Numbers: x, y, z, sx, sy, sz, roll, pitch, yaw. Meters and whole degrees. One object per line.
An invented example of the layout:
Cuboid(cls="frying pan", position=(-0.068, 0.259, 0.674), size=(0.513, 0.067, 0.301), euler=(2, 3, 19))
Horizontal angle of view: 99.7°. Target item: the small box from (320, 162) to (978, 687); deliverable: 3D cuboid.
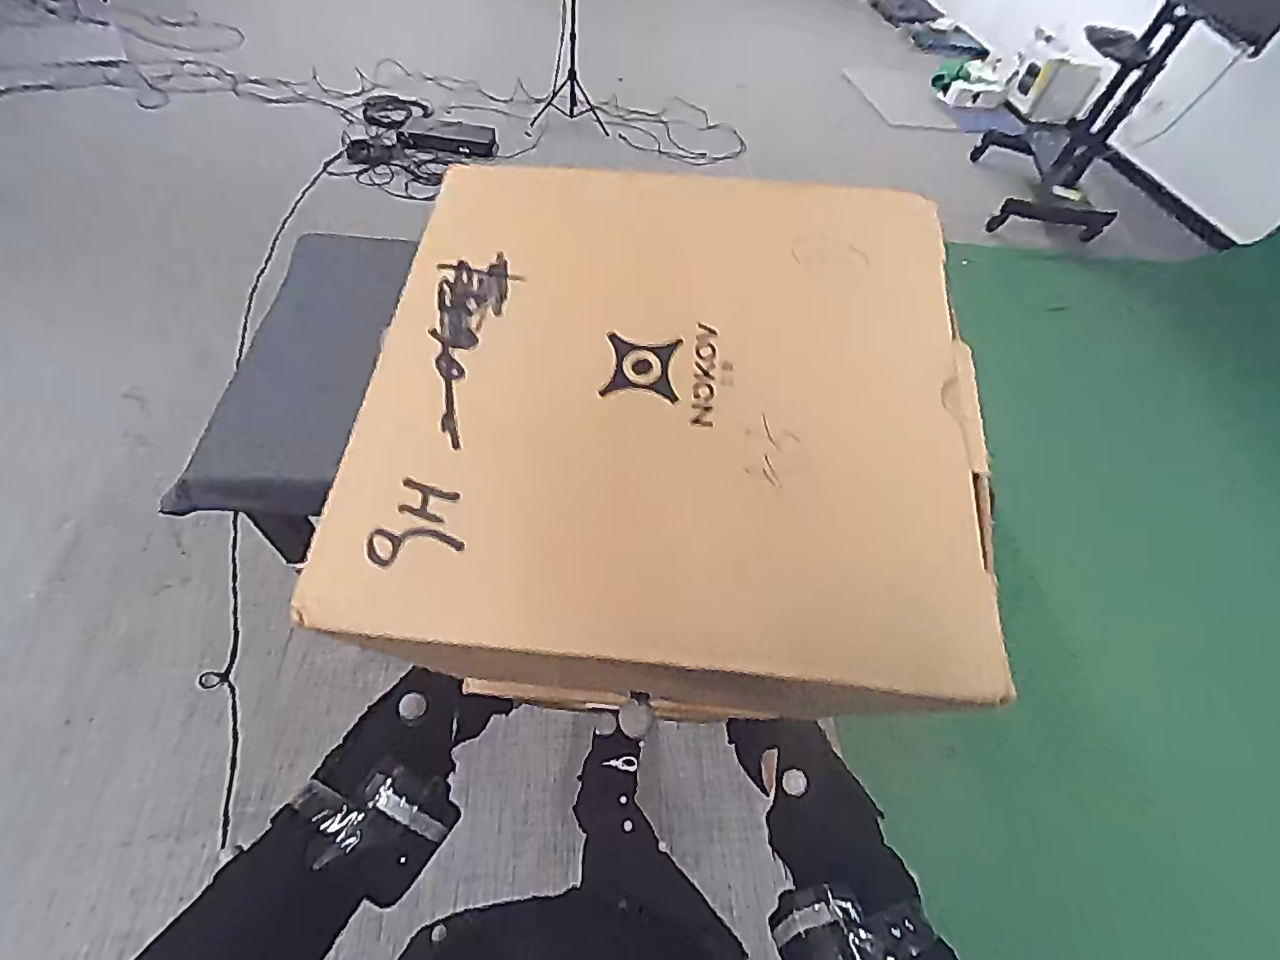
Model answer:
Cuboid(cls="small box", position=(0.008, -0.004, 0.244), size=(0.179, 0.176, 0.168), euler=(6, 66, 1))

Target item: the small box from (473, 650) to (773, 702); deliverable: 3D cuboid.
Cuboid(cls="small box", position=(-0.005, 0.059, 0.394), size=(0.168, 0.176, 0.179), euler=(5, 67, 1))
